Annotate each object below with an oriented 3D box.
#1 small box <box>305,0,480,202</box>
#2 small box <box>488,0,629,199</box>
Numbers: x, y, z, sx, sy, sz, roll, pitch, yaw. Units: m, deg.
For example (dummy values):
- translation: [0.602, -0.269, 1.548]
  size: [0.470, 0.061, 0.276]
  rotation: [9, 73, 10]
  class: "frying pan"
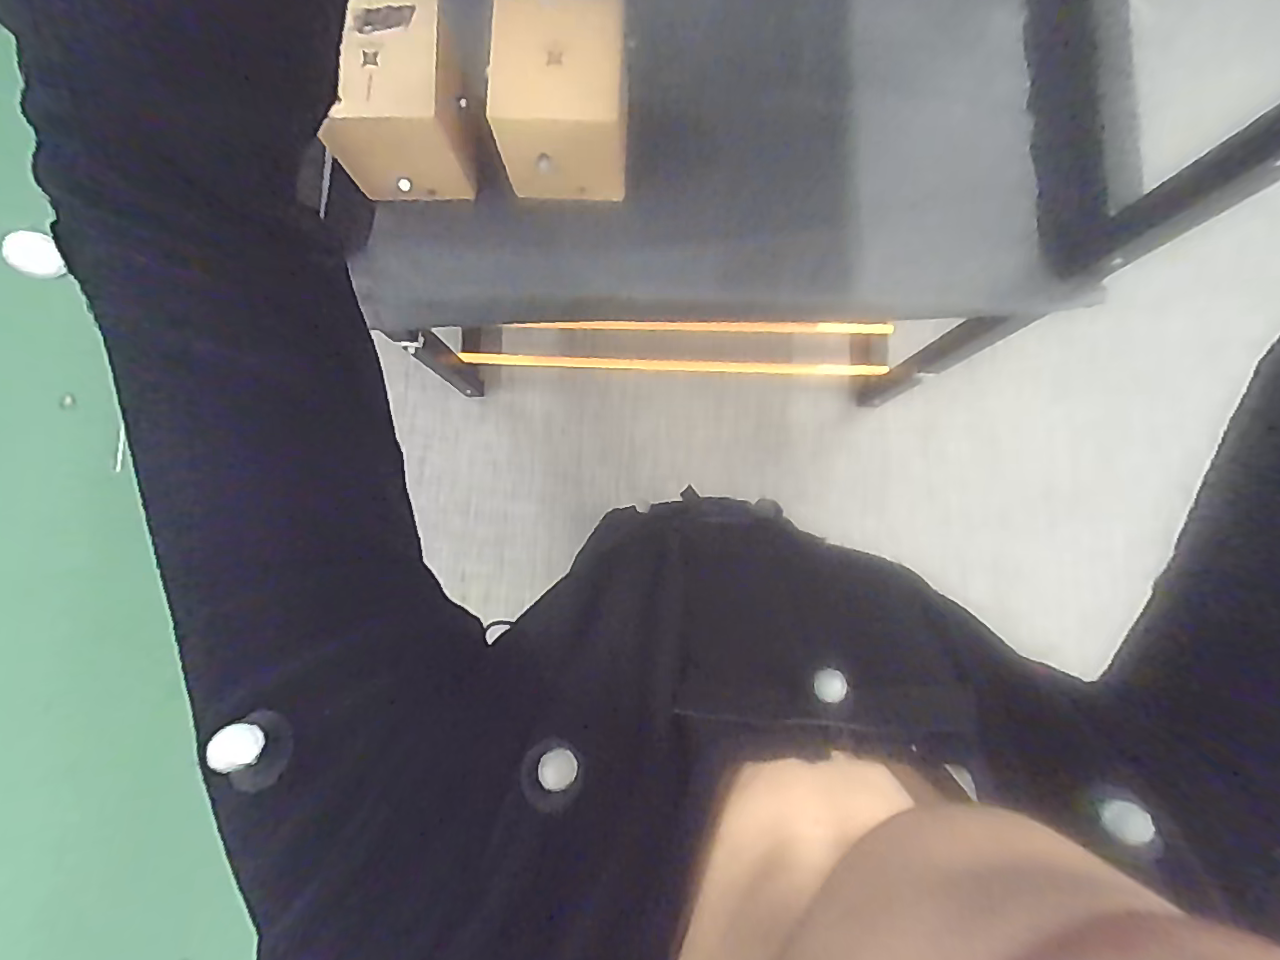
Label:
- translation: [-0.329, -0.520, 0.750]
  size: [0.168, 0.176, 0.179]
  rotation: [-1, 84, 1]
  class: "small box"
- translation: [-0.102, -0.518, 0.750]
  size: [0.168, 0.176, 0.179]
  rotation: [2, 83, 1]
  class: "small box"
